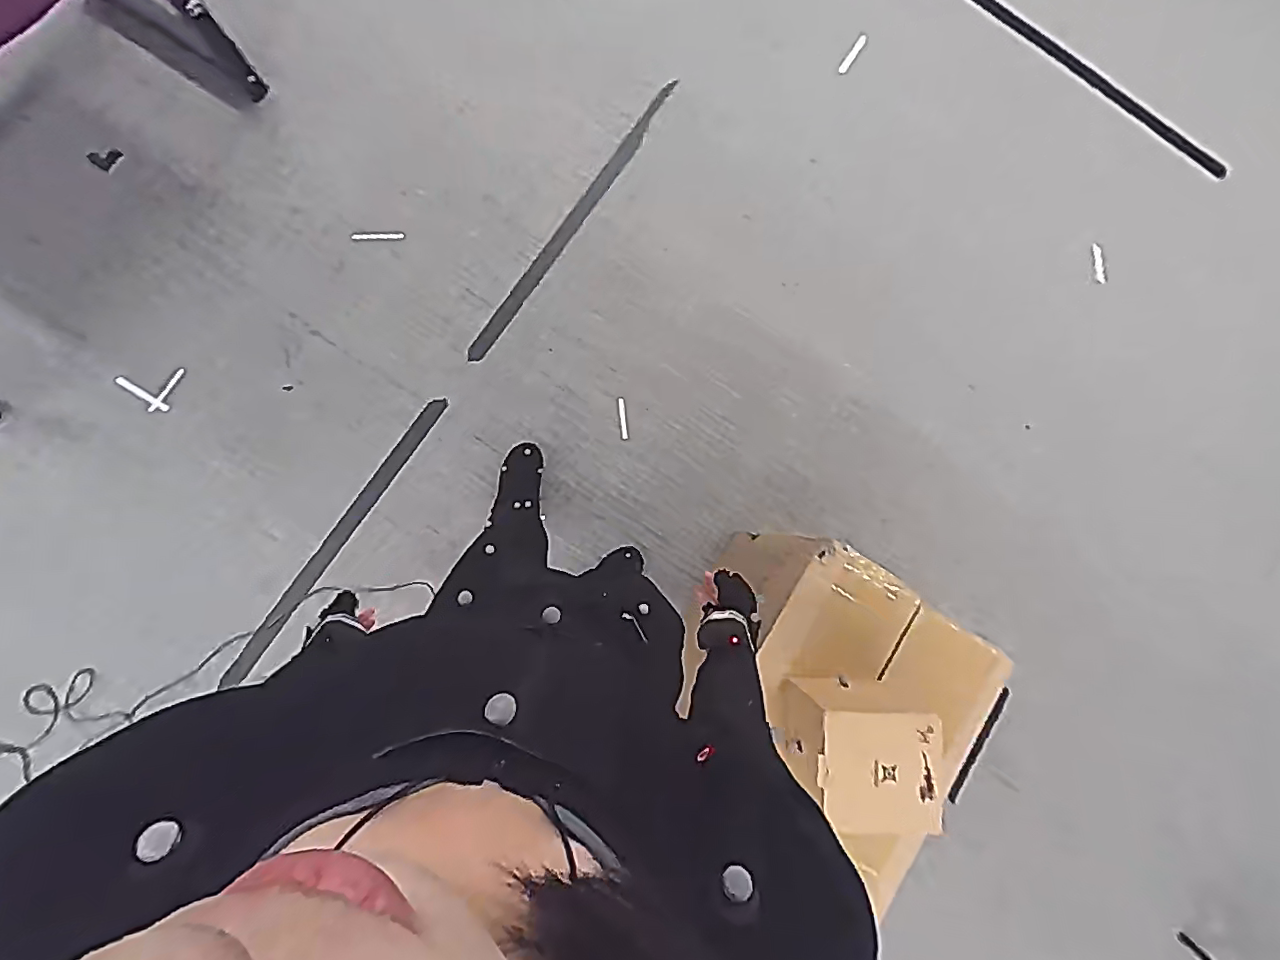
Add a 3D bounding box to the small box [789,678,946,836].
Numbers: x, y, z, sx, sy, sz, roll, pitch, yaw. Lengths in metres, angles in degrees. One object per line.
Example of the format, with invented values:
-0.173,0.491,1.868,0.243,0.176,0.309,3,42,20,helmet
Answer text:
0.338,0.412,0.831,0.179,0.176,0.168,3,86,-2,small box
